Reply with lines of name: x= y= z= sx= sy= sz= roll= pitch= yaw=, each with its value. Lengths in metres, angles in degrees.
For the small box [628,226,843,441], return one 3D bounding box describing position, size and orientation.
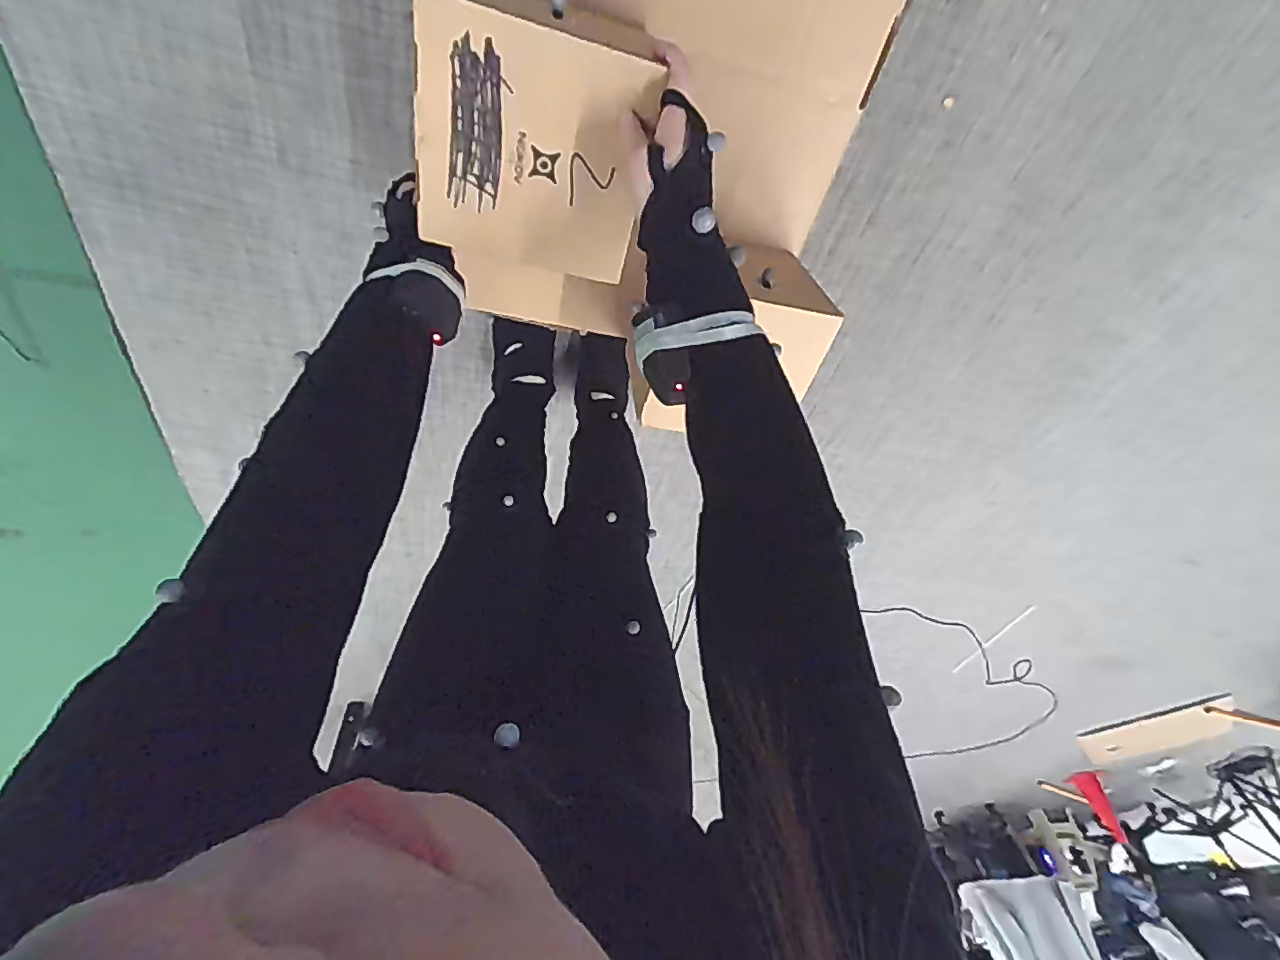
small box: x=0.093 y=-0.169 z=0.623 sx=0.179 sy=0.176 sz=0.168 roll=8 pitch=131 yaw=-14
